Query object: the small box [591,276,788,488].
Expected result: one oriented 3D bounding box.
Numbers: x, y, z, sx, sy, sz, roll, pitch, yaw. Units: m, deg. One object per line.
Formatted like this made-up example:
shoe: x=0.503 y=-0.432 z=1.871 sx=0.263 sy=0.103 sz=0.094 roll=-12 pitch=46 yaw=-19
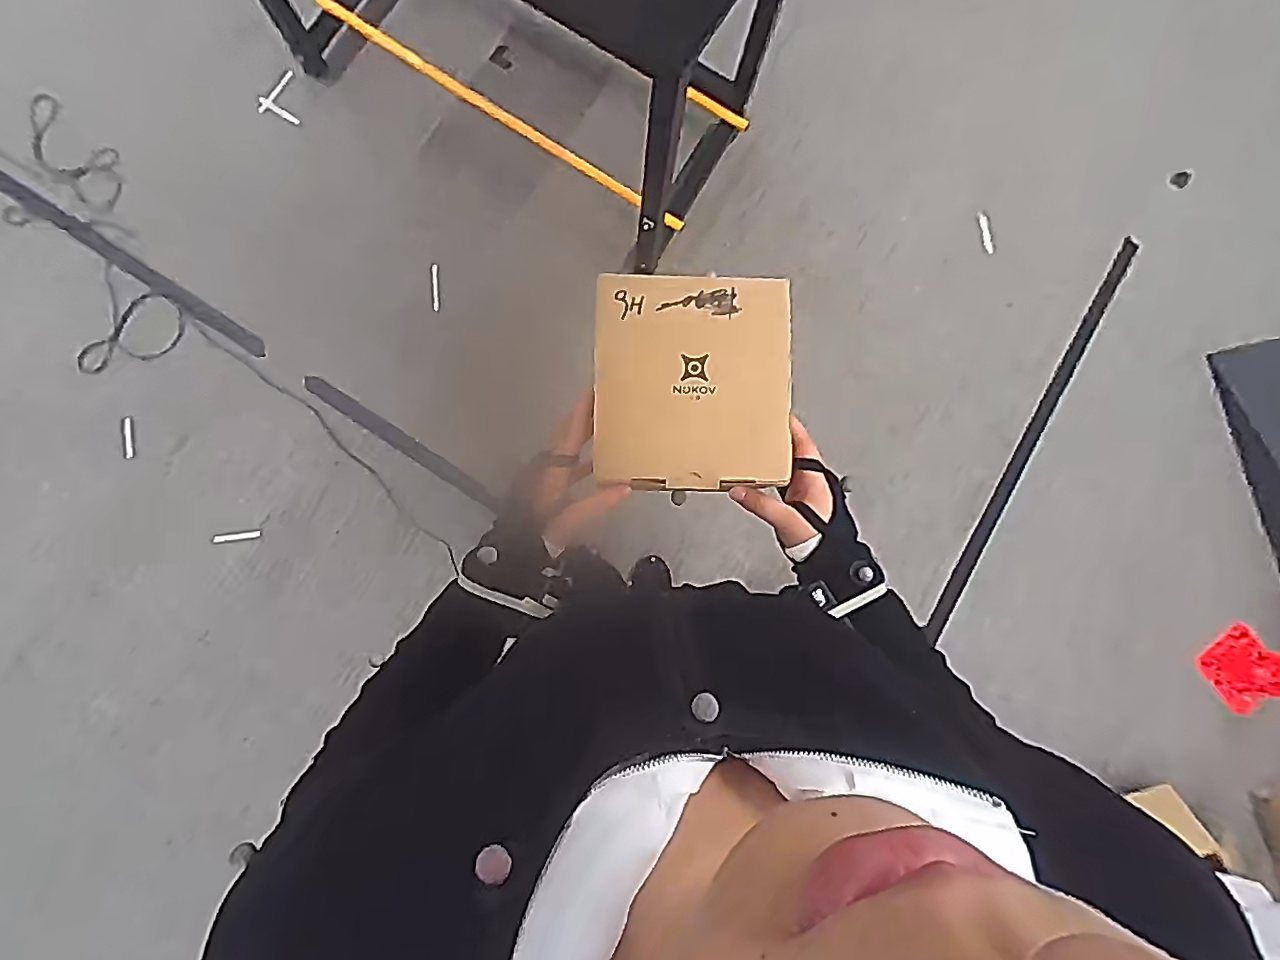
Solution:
small box: x=0.040 y=-0.080 z=0.528 sx=0.168 sy=0.176 sz=0.179 roll=0 pitch=88 yaw=-2
